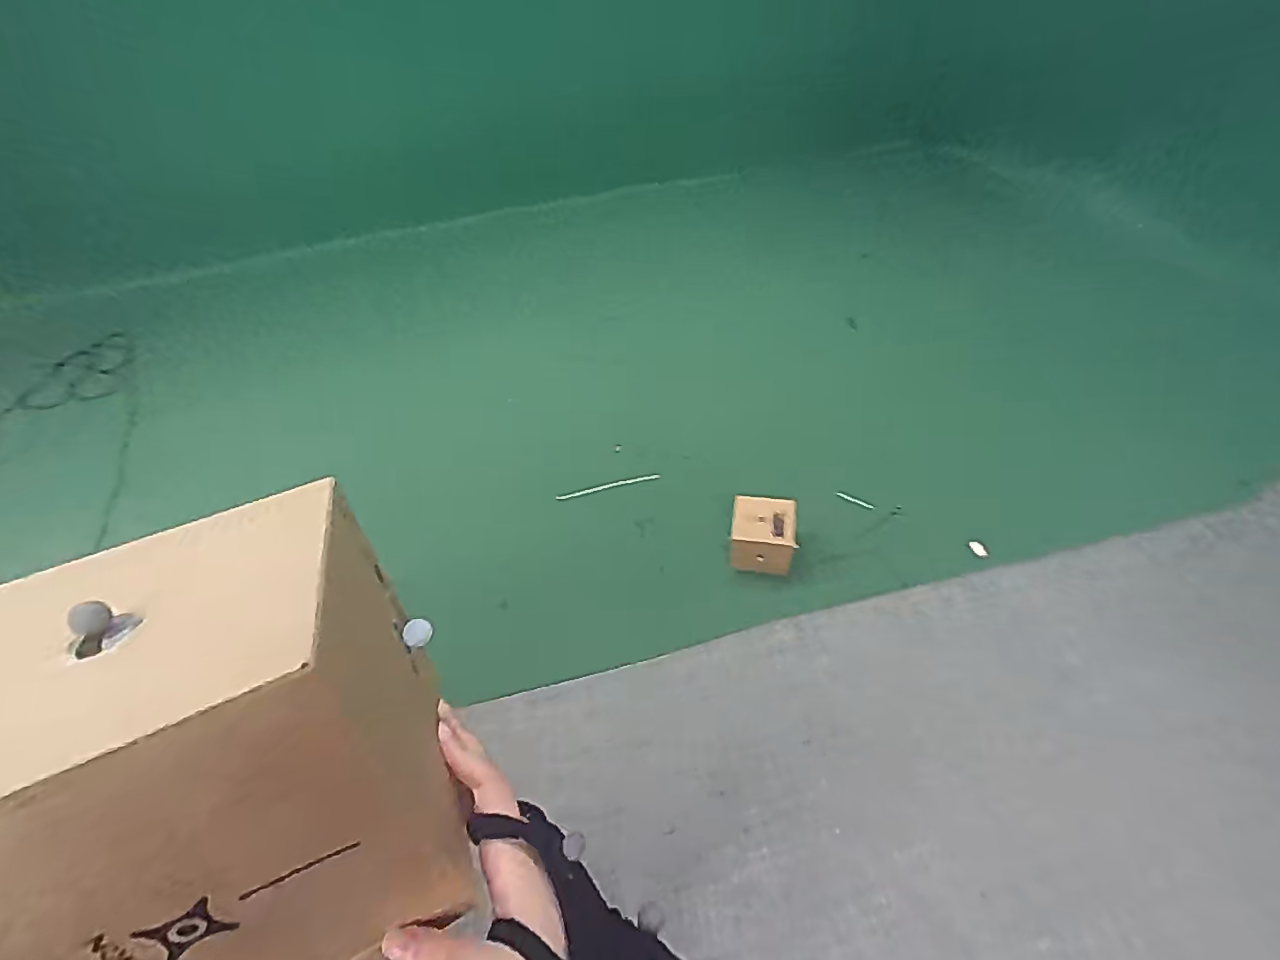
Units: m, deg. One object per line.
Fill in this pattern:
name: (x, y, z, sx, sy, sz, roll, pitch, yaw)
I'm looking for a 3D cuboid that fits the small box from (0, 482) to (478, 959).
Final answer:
small box: (-0.197, 0.124, 0.261, 0.179, 0.168, 0.176, -21, 30, -17)
